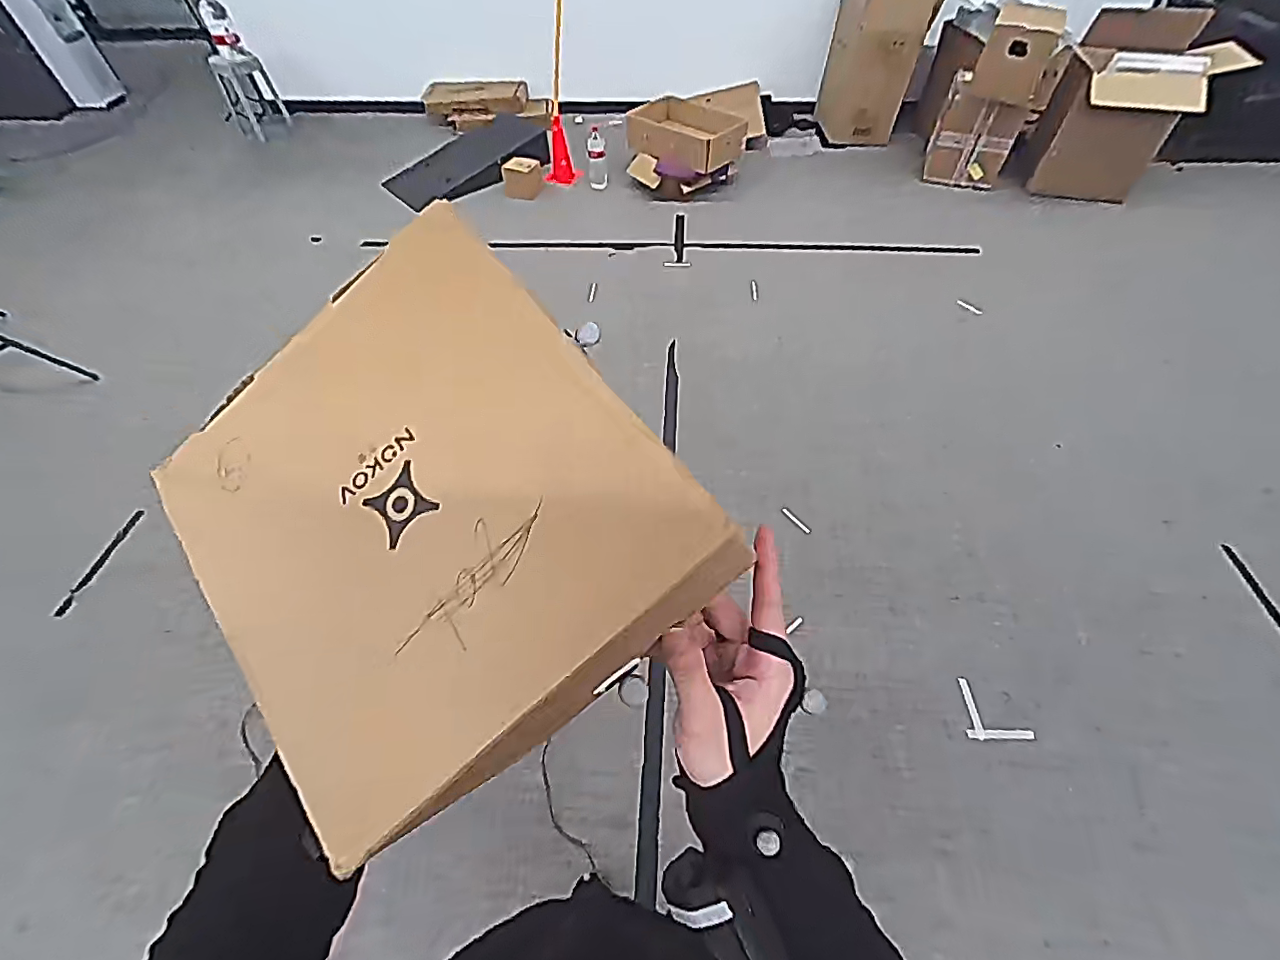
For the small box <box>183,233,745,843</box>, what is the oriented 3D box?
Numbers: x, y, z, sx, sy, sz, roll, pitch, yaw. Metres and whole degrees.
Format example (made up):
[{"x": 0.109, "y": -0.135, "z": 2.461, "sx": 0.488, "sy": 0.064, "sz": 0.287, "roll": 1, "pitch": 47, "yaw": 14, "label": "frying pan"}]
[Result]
[{"x": -0.065, "y": 0.026, "z": 0.279, "sx": 0.168, "sy": 0.176, "sz": 0.179, "roll": -43, "pitch": 72, "yaw": 3, "label": "small box"}]
